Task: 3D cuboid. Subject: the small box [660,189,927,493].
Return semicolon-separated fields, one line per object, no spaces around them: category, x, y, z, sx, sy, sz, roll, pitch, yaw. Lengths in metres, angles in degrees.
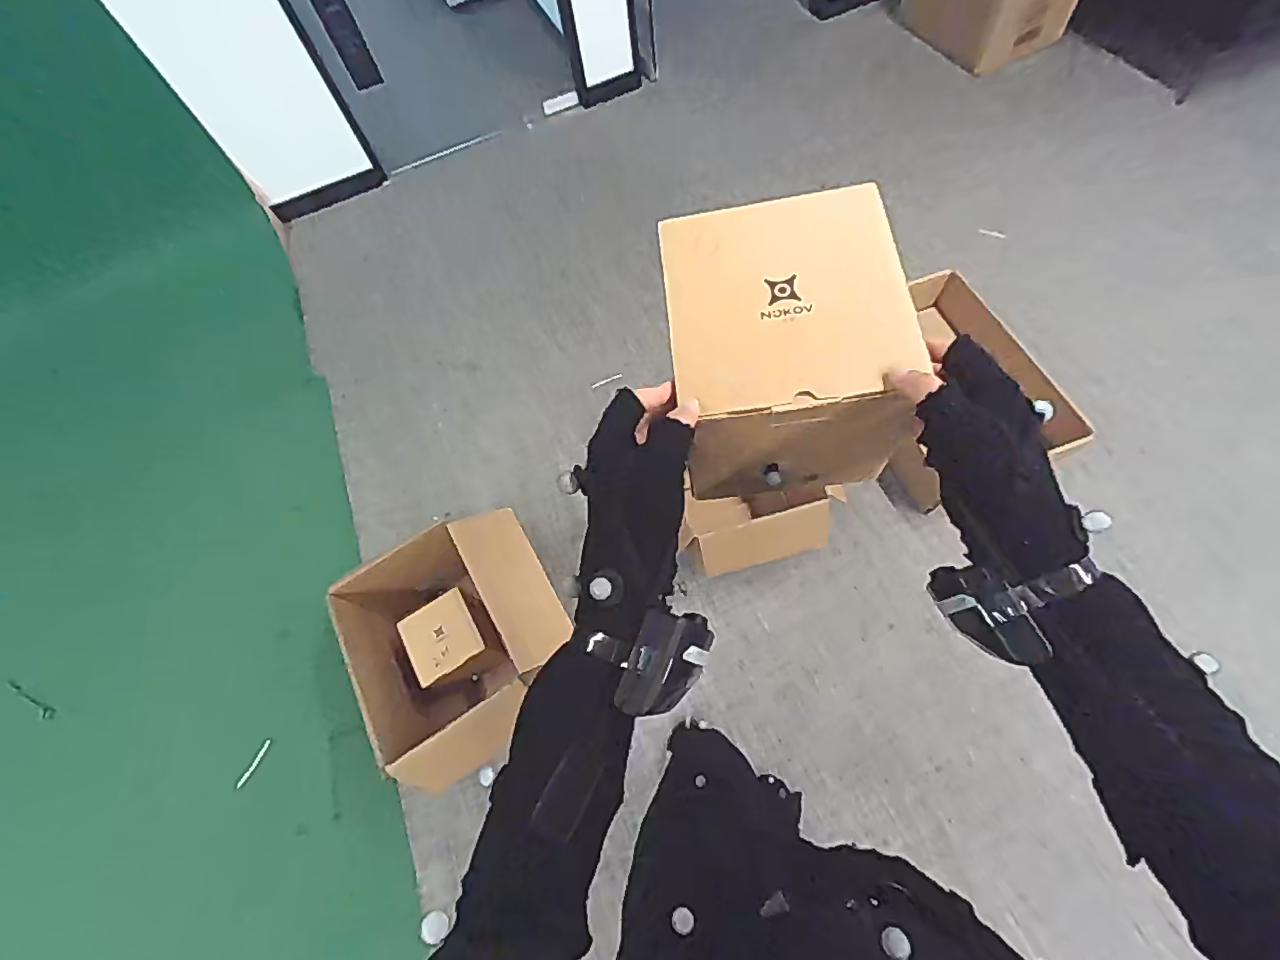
small box;0.111;-0.104;0.461;0.168;0.176;0.179;-7;69;7
